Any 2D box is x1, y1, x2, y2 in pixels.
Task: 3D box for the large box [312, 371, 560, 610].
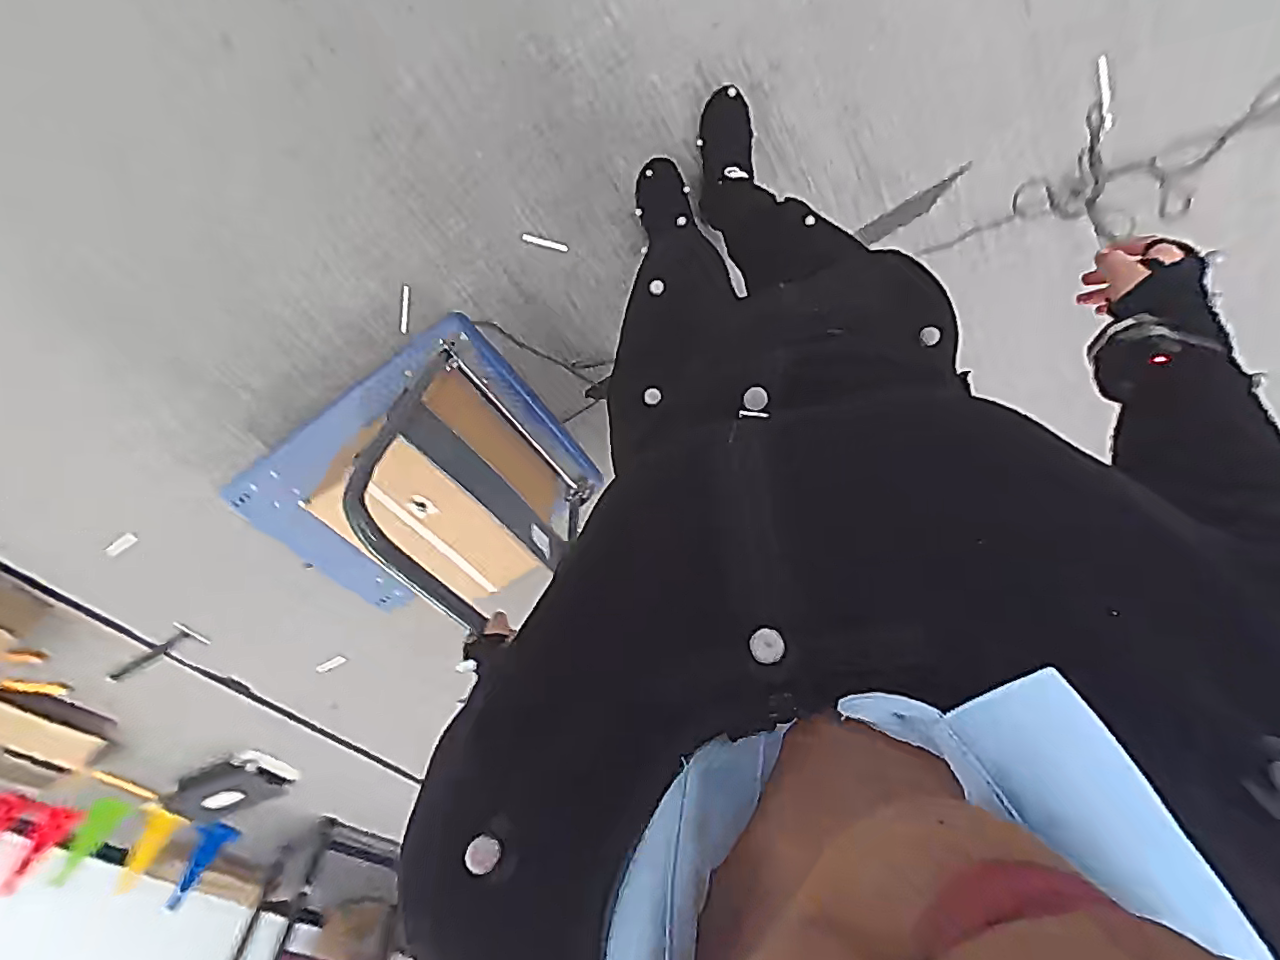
[{"bbox_3d":[-0.442,0.027,1.281,0.320,0.320,0.408,-30,120,16],"label":"large box"}]
